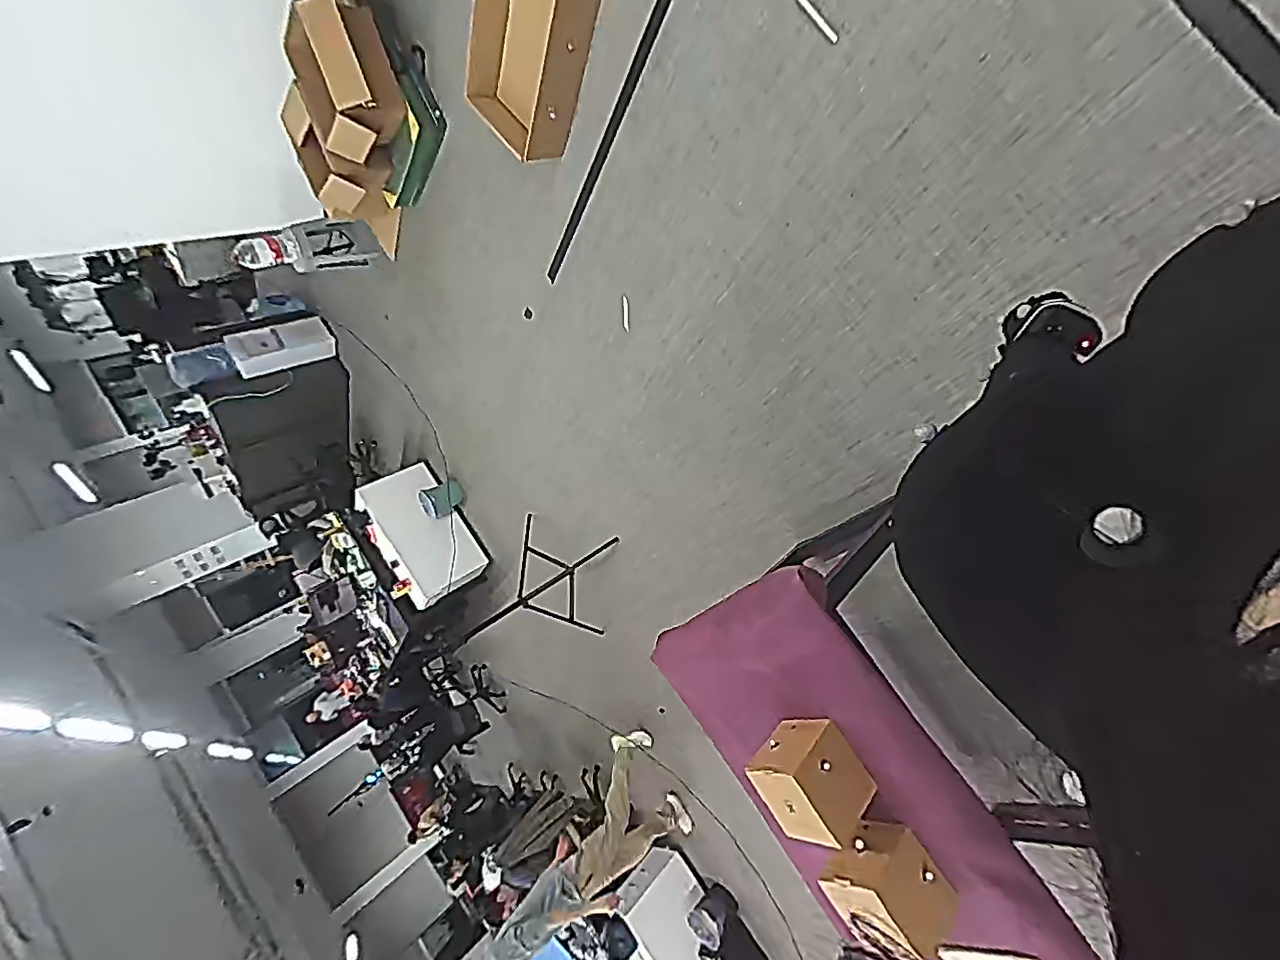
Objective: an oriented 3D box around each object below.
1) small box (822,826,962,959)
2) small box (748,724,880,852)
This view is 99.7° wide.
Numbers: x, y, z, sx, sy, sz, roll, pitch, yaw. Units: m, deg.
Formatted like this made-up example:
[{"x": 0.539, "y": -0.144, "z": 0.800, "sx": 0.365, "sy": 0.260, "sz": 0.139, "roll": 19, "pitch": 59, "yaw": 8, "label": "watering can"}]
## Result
[{"x": 0.530, "y": 0.868, "z": 1.137, "sx": 0.179, "sy": 0.176, "sz": 0.168, "roll": 55, "pitch": 144, "yaw": 8, "label": "small box"}, {"x": 0.378, "y": 0.653, "z": 1.172, "sx": 0.179, "sy": 0.176, "sz": 0.168, "roll": 55, "pitch": 146, "yaw": 4, "label": "small box"}]
